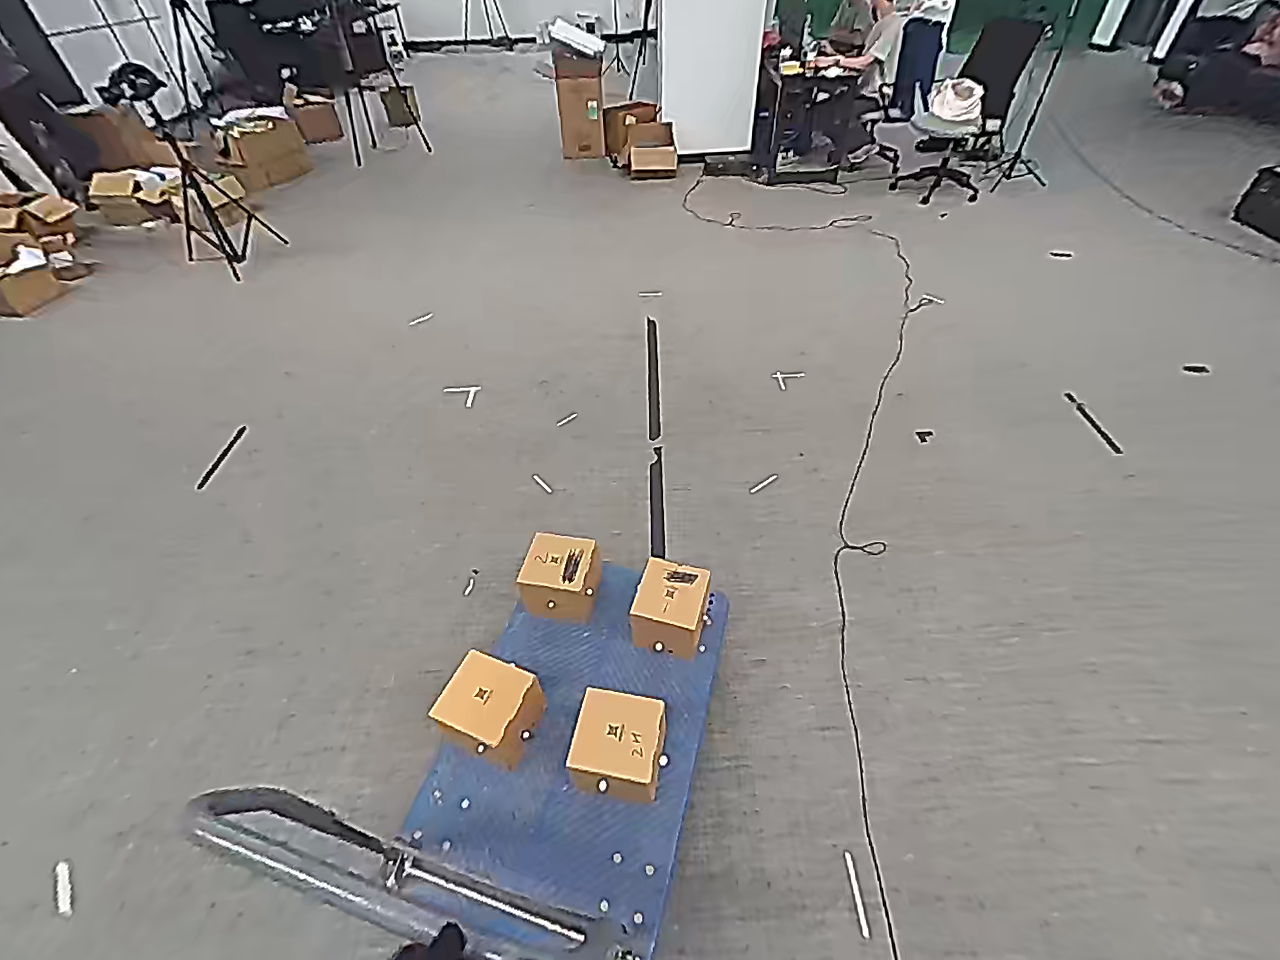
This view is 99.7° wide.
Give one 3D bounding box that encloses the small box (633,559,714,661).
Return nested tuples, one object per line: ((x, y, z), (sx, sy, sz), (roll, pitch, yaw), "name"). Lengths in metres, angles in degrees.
((0.087, 0.337, 1.401), (0.168, 0.176, 0.179), (12, 49, 14), "small box")

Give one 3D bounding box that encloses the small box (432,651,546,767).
((-0.336, 0.527, 1.239), (0.179, 0.176, 0.168), (15, 48, 16), "small box")

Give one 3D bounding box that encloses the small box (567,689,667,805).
((-0.041, 0.580, 1.170), (0.179, 0.176, 0.168), (7, 47, 10), "small box")
